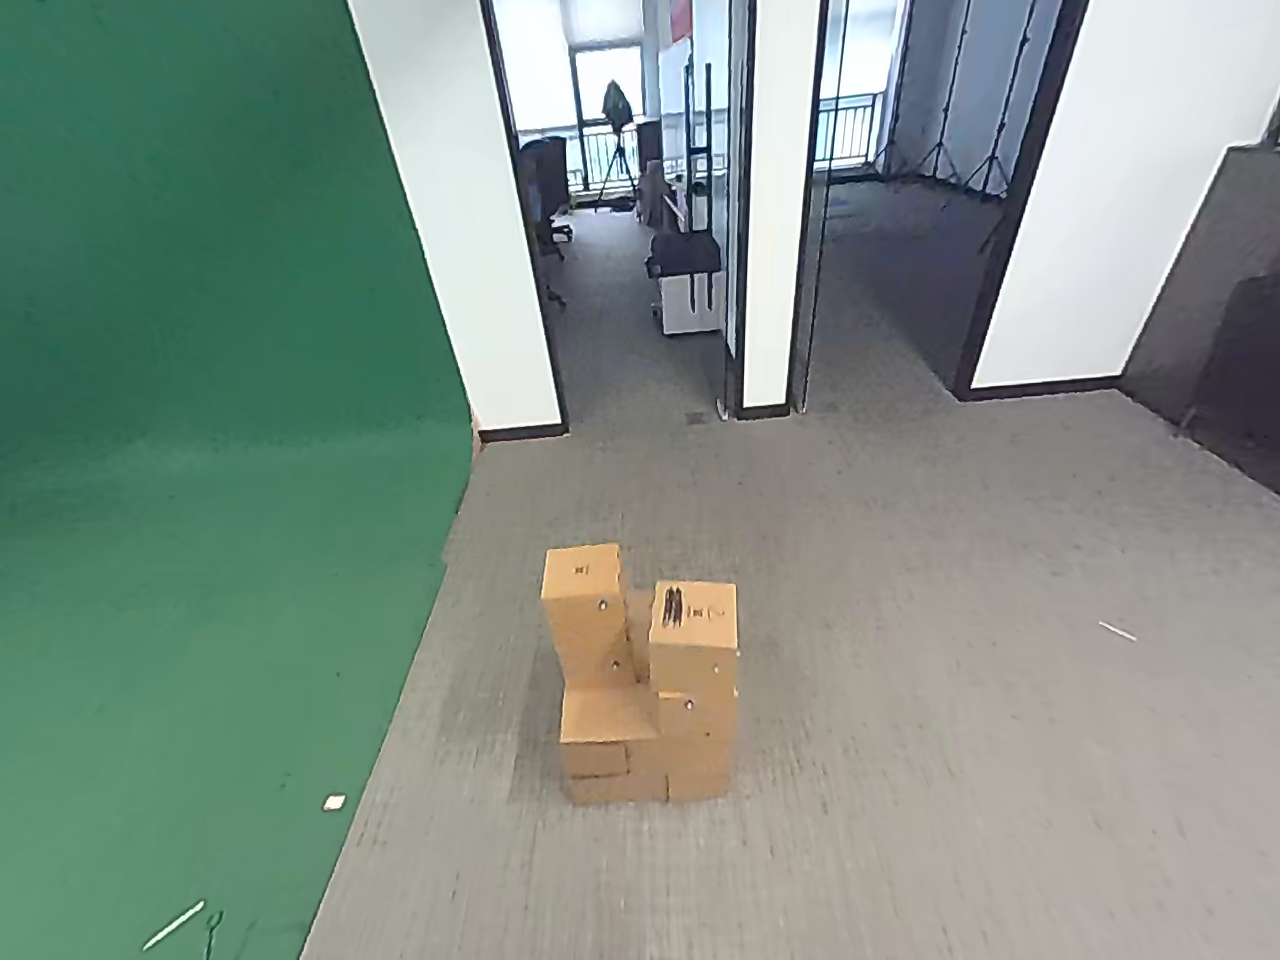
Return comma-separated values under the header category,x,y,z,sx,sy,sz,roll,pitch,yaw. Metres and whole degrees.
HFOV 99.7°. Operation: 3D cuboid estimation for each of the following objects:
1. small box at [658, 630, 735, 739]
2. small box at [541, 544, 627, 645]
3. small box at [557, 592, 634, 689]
category,x,y,z,sx,sy,sz,roll,pitch,yaw
small box,0.128,0.471,1.252,0.168,0.176,0.179,-2,35,4
small box,-0.128,0.274,1.289,0.179,0.176,0.168,-5,34,0
small box,-0.107,0.410,1.378,0.179,0.176,0.168,-6,33,0
